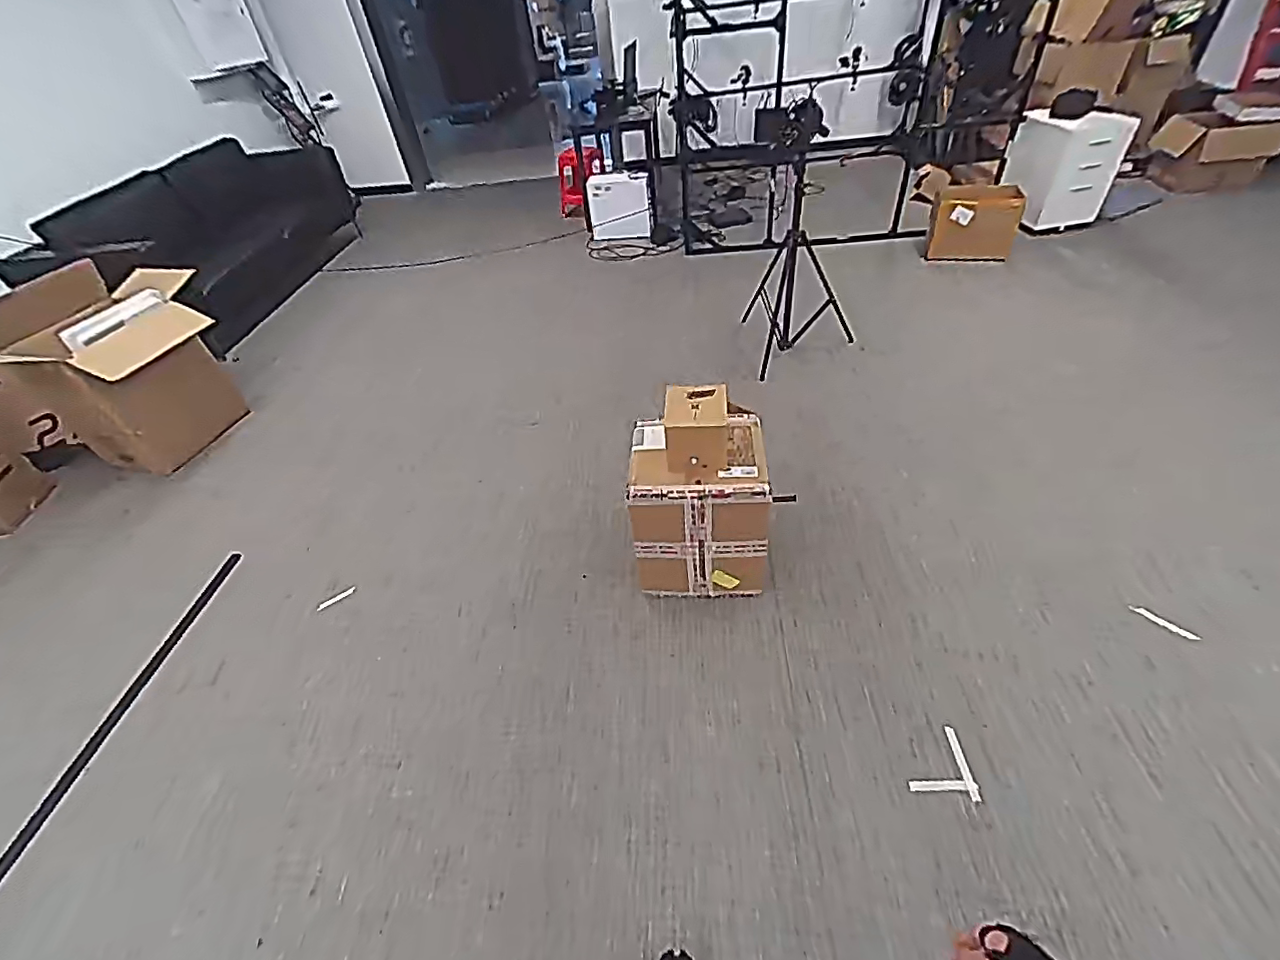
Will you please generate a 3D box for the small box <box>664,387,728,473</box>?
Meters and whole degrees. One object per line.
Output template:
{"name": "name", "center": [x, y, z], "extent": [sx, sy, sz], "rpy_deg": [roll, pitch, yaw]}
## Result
{"name": "small box", "center": [0.158, -0.139, 1.505], "extent": [0.168, 0.176, 0.179], "rpy_deg": [-1, 47, 8]}
